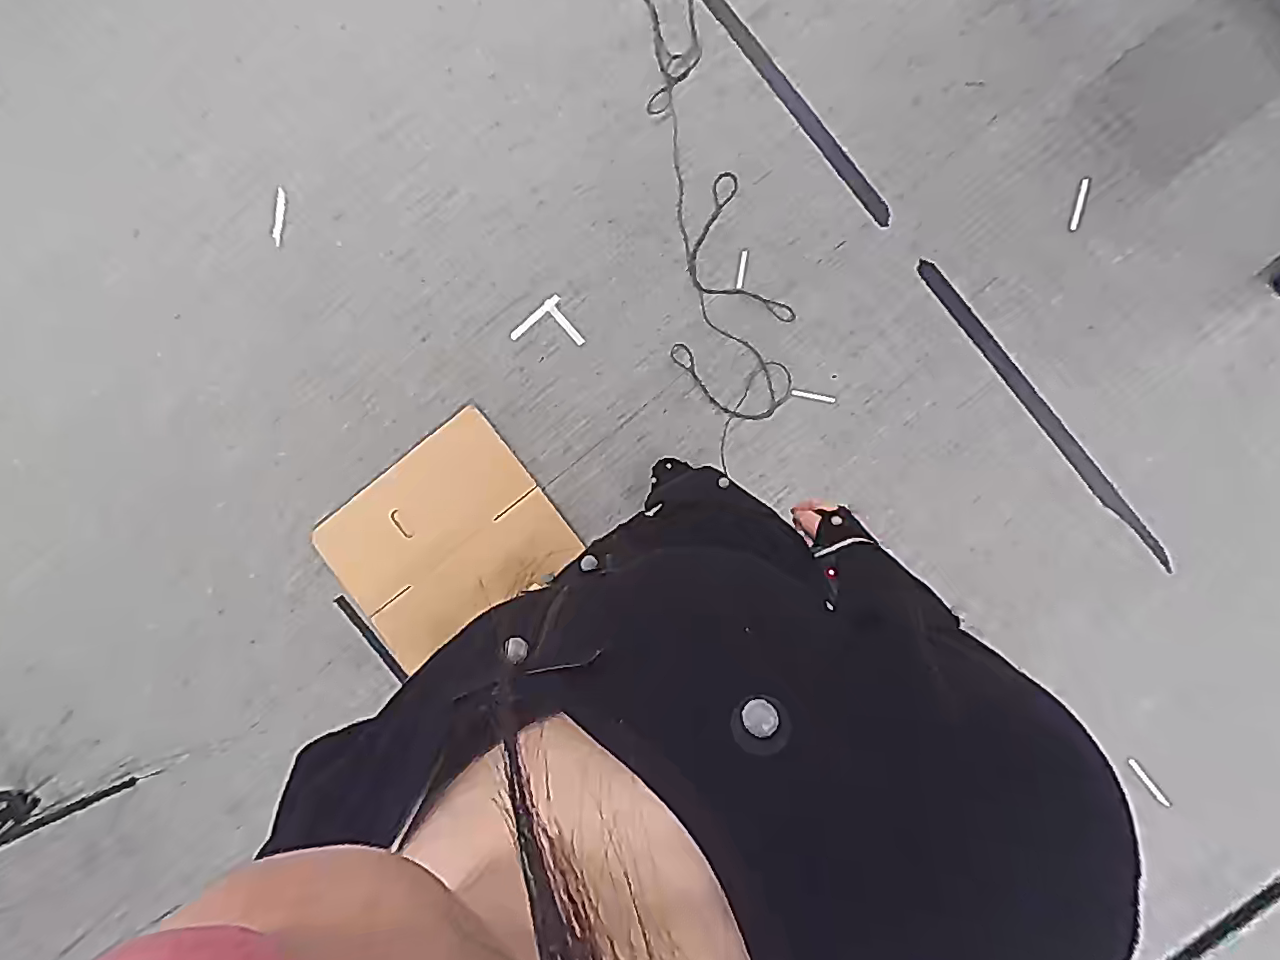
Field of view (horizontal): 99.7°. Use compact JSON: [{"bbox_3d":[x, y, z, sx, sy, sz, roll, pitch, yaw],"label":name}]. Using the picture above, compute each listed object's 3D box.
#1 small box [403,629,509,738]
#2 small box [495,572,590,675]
[{"bbox_3d":[-0.473,0.524,1.418,0.168,0.176,0.179,42,92,0],"label":"small box"},{"bbox_3d":[-0.243,0.362,1.406,0.168,0.176,0.179,38,91,1],"label":"small box"}]
